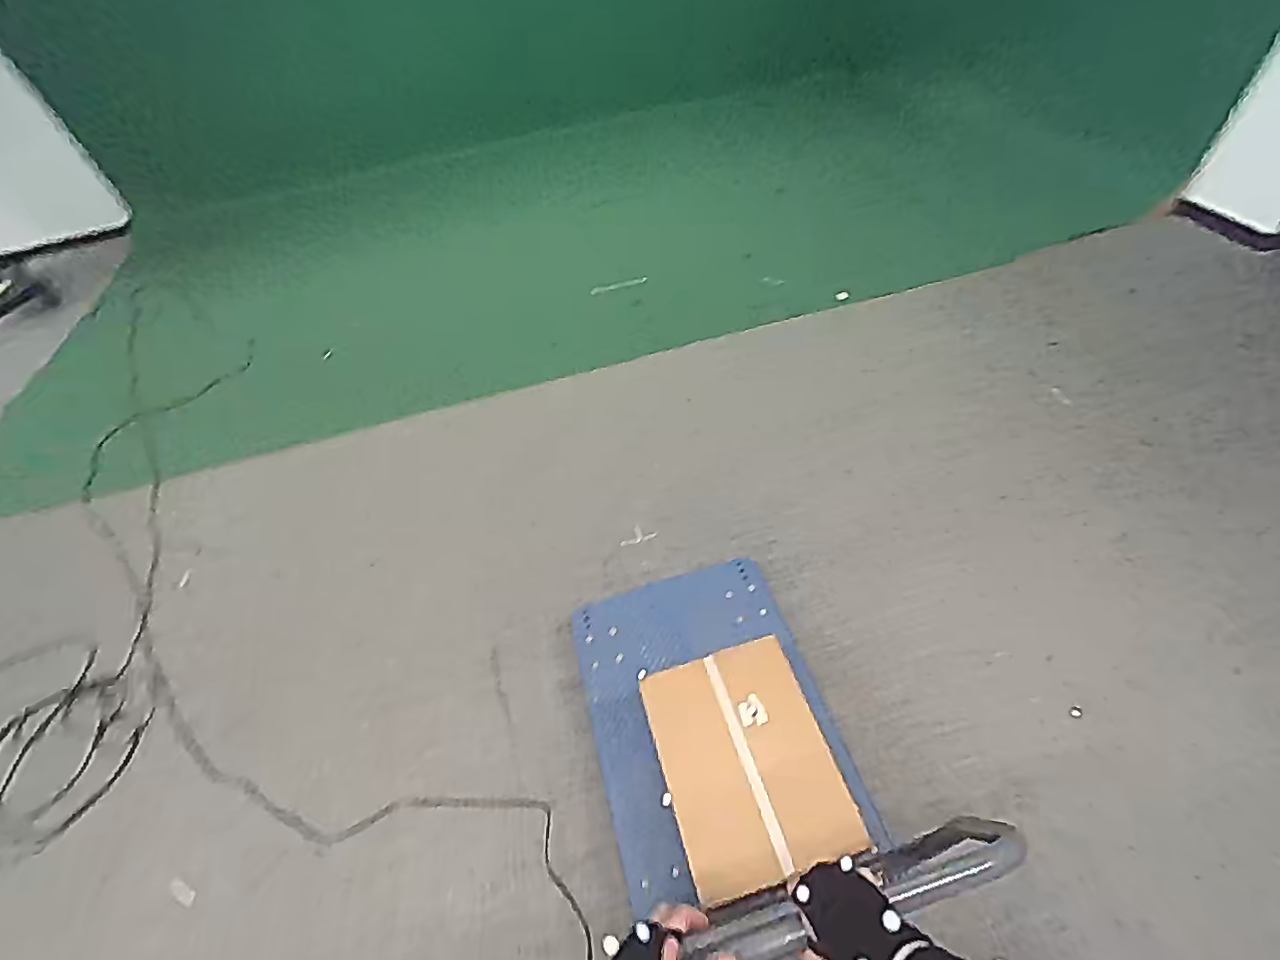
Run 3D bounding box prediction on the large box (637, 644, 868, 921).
[{"bbox_3d":[0.215,0.638,1.153,0.320,0.320,0.408,-17,49,-6],"label":"large box"}]
